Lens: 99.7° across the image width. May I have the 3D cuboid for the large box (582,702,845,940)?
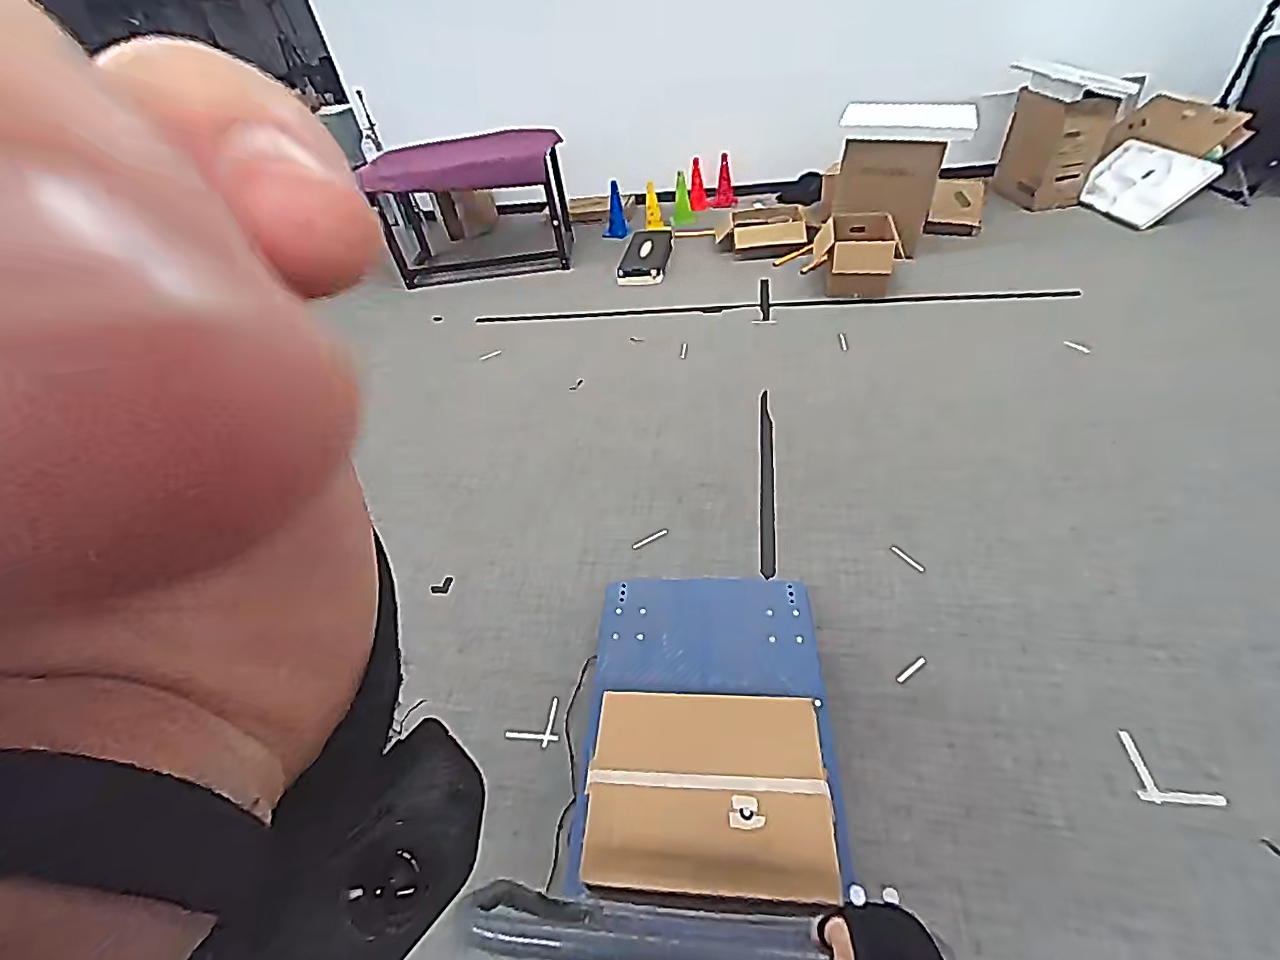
[{"bbox_3d":[0.129,0.639,1.021,0.408,0.320,0.320,-1,45,7],"label":"large box"}]
